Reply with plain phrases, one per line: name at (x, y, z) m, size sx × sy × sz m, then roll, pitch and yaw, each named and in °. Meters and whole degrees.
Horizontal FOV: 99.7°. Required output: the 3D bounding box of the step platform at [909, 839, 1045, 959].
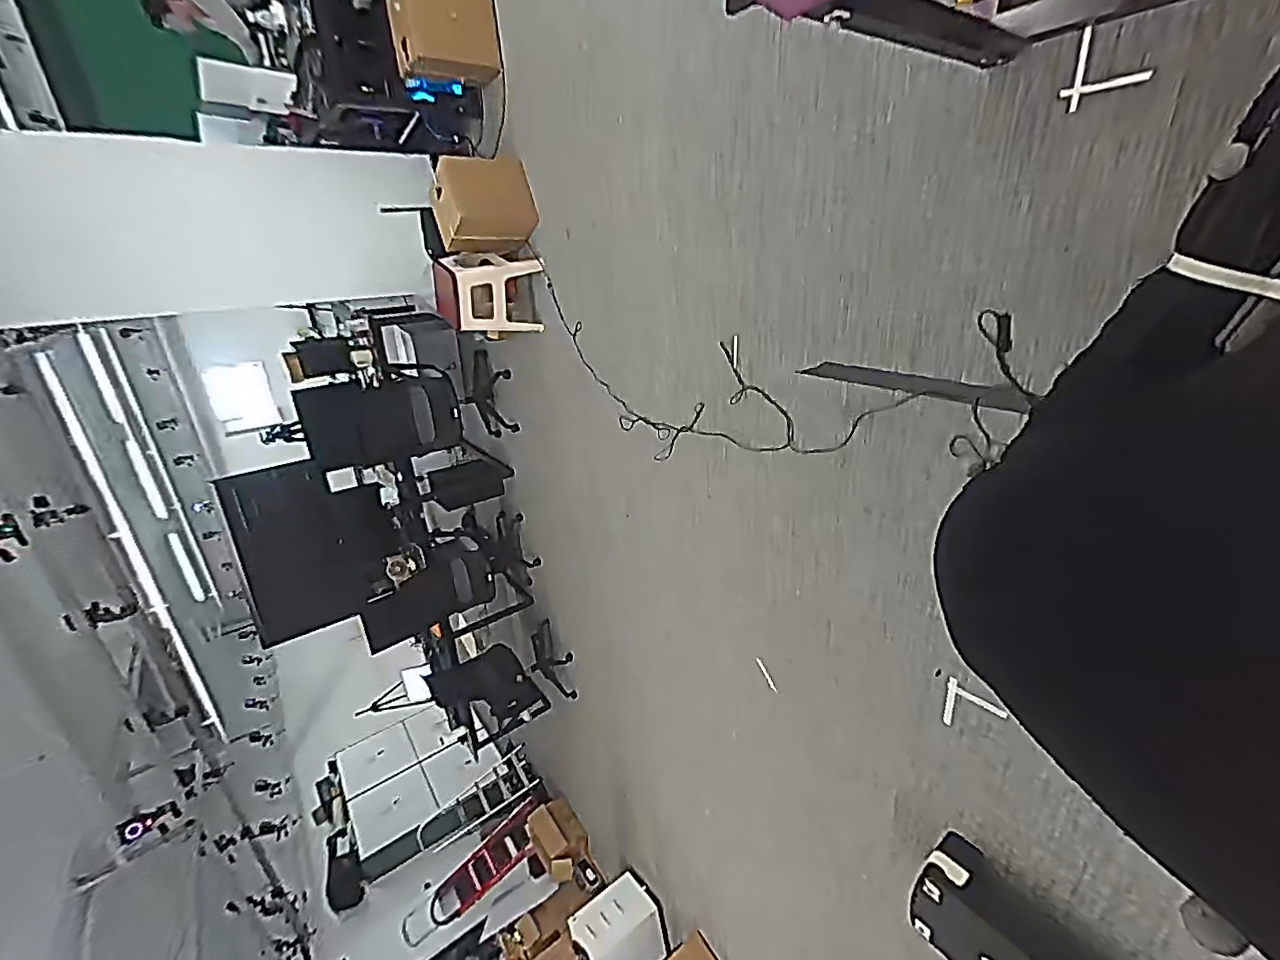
step platform at (1.116, 1.388, 1.496) m, size 0.684 × 0.204 × 0.286 m, roll 25°, pitch 126°, yaw 48°
